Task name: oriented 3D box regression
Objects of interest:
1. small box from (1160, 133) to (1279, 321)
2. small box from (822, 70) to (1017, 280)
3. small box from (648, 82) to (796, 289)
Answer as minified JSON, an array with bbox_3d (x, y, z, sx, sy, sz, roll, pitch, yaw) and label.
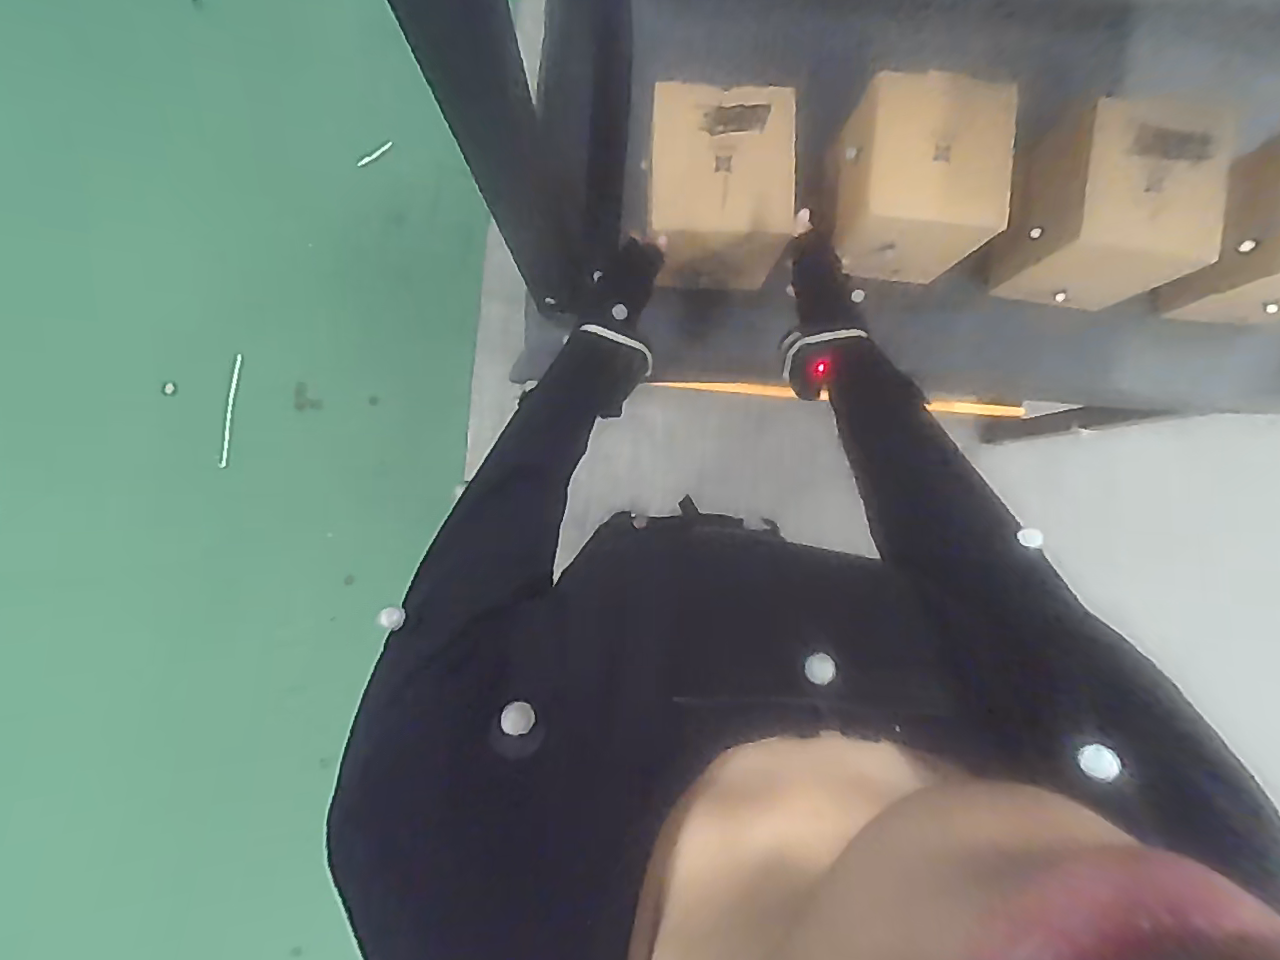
[{"bbox_3d":[0.839,-0.322,0.708,0.168,0.176,0.179,5,86,-1],"label":"small box"},{"bbox_3d":[0.350,-0.383,0.708,0.168,0.176,0.179,5,87,-1],"label":"small box"},{"bbox_3d":[0.096,-0.369,0.703,0.168,0.176,0.179,1,89,-1],"label":"small box"}]
